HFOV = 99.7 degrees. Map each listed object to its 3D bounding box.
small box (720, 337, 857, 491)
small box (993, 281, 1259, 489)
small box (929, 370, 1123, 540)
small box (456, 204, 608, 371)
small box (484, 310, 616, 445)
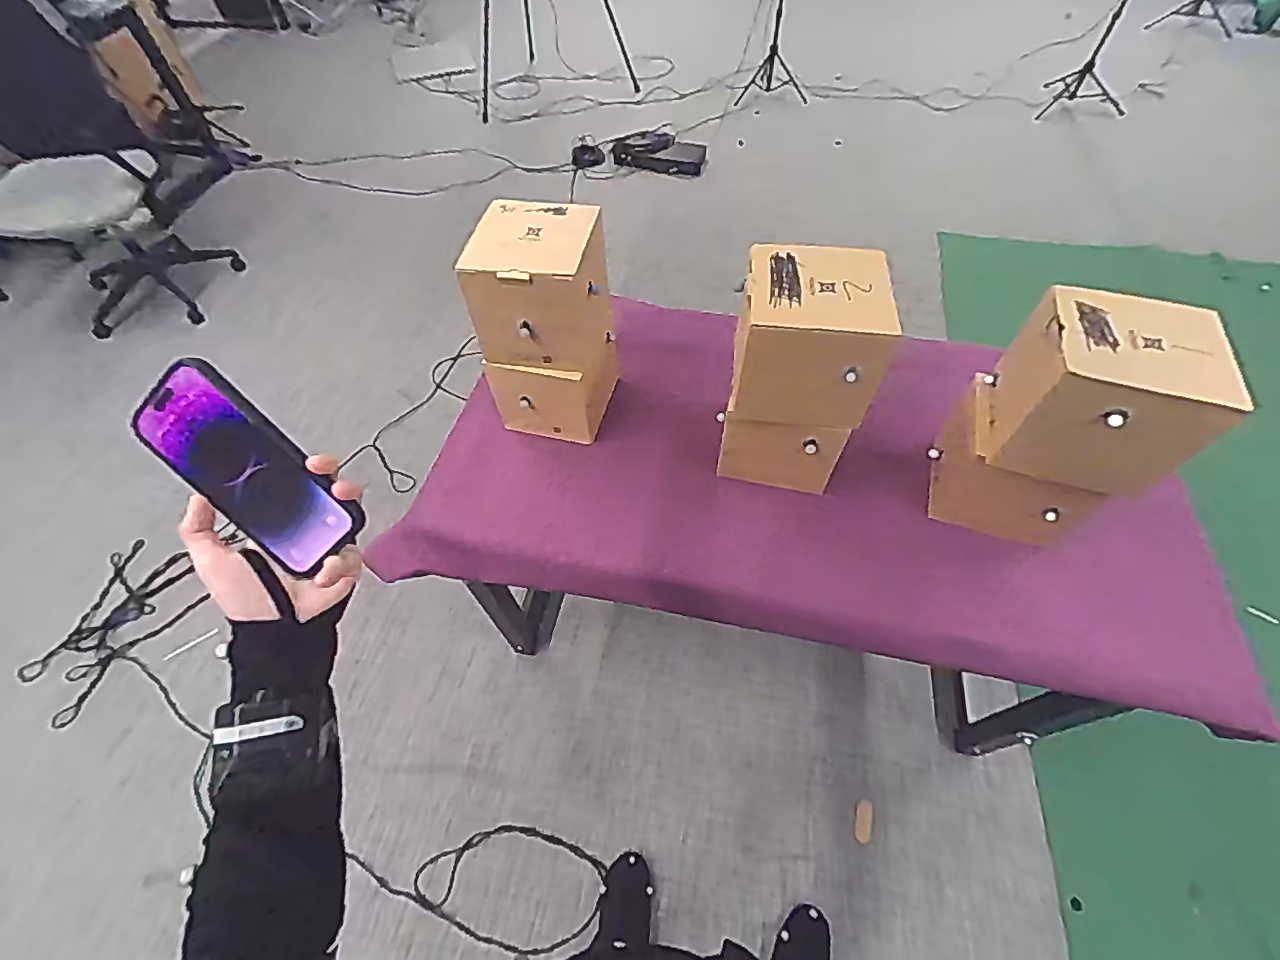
[{"bbox_3d":[0.232,-0.101,0.865,0.179,0.176,0.168,10,56,10],"label":"small box"},{"bbox_3d":[0.558,-0.111,0.658,0.179,0.176,0.168,15,57,12],"label":"small box"},{"bbox_3d":[0.559,-0.031,0.802,0.179,0.176,0.168,15,57,13],"label":"small box"},{"bbox_3d":[-0.147,-0.285,0.813,0.168,0.176,0.179,6,56,6],"label":"small box"},{"bbox_3d":[-0.143,-0.183,0.942,0.168,0.176,0.179,10,56,10],"label":"small box"}]
